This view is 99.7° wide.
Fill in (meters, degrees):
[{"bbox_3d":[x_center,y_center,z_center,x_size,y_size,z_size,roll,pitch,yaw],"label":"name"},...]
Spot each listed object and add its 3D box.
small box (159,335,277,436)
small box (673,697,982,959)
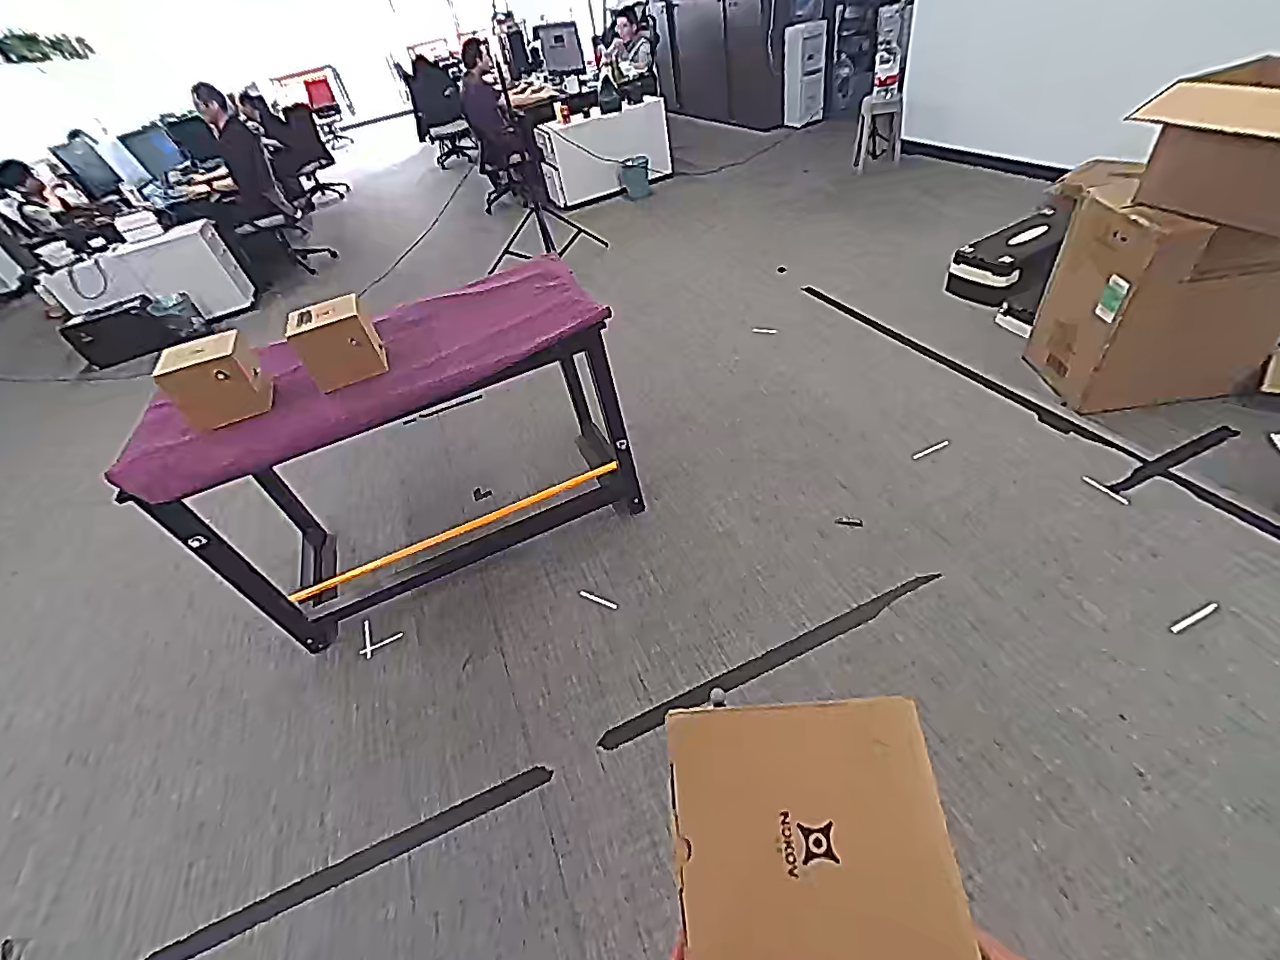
[{"bbox_3d":[-1.070,-0.242,1.390,0.179,0.176,0.168,-23,42,-14],"label":"small box"},{"bbox_3d":[0.121,0.265,0.424,0.179,0.176,0.168,-6,64,5],"label":"small box"}]
